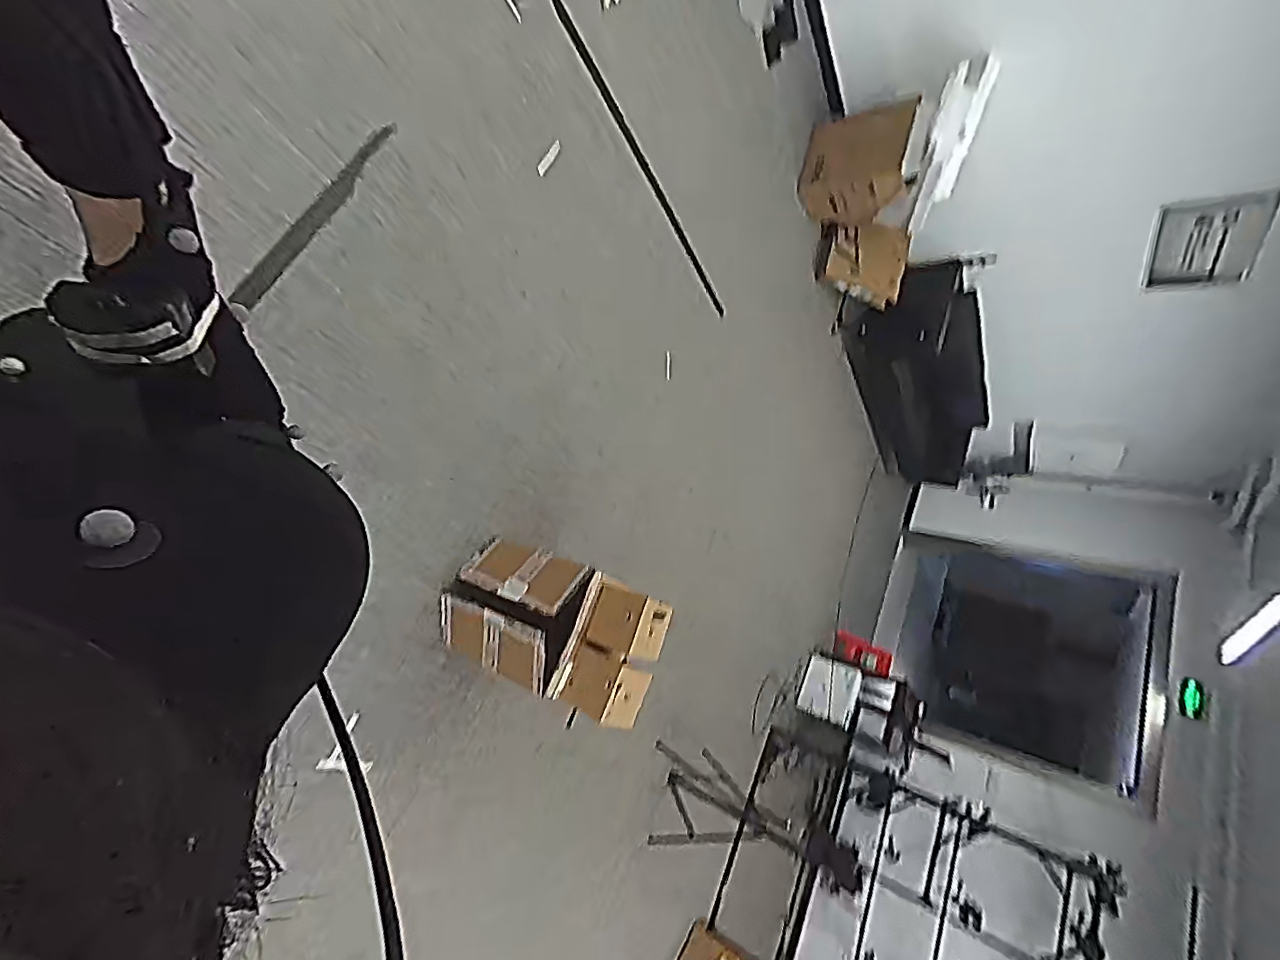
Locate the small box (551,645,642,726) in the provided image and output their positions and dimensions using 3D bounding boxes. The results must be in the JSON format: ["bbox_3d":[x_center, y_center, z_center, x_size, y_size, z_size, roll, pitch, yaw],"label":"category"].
[{"bbox_3d":[-0.128,0.607,1.601,0.179,0.176,0.168,42,66,-50],"label":"small box"}]

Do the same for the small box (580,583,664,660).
[{"bbox_3d":[-0.057,0.430,1.652,0.168,0.176,0.179,38,67,-51],"label":"small box"}]
